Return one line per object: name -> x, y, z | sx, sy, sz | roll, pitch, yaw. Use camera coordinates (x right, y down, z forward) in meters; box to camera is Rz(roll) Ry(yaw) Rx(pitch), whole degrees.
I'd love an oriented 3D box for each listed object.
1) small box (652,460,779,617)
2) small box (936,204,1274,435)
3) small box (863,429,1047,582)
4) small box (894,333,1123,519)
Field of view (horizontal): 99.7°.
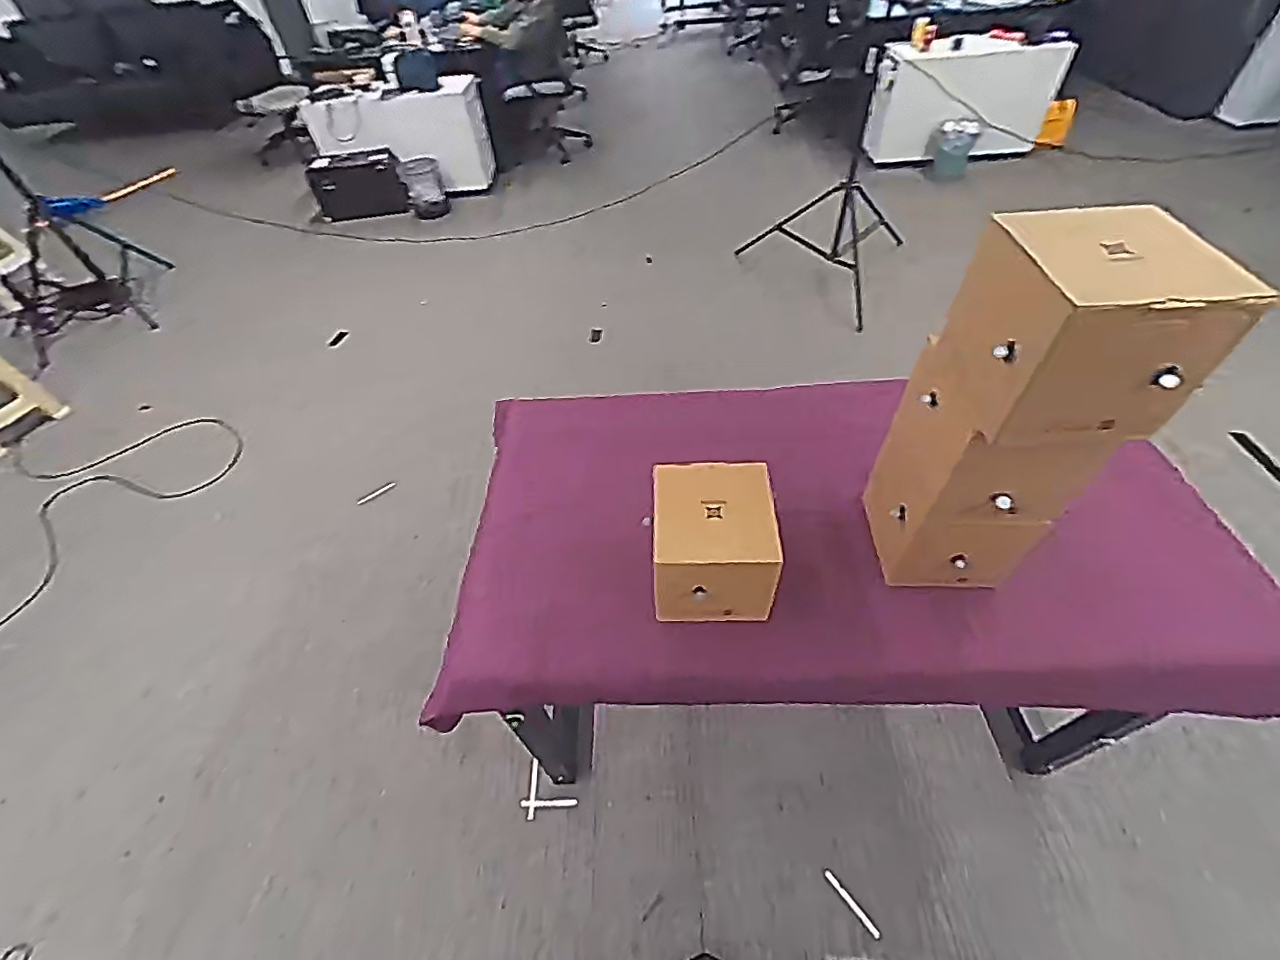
small box -> 0.105, 0.091, 0.802 | 0.168, 0.176, 0.179 | -1, 48, 3
small box -> 0.442, -0.158, 0.558 | 0.168, 0.176, 0.179 | -2, 49, 1
small box -> 0.456, 0.041, 0.818 | 0.168, 0.176, 0.179 | 0, 49, 4
small box -> 0.450, -0.069, 0.696 | 0.168, 0.176, 0.179 | 0, 50, 4
